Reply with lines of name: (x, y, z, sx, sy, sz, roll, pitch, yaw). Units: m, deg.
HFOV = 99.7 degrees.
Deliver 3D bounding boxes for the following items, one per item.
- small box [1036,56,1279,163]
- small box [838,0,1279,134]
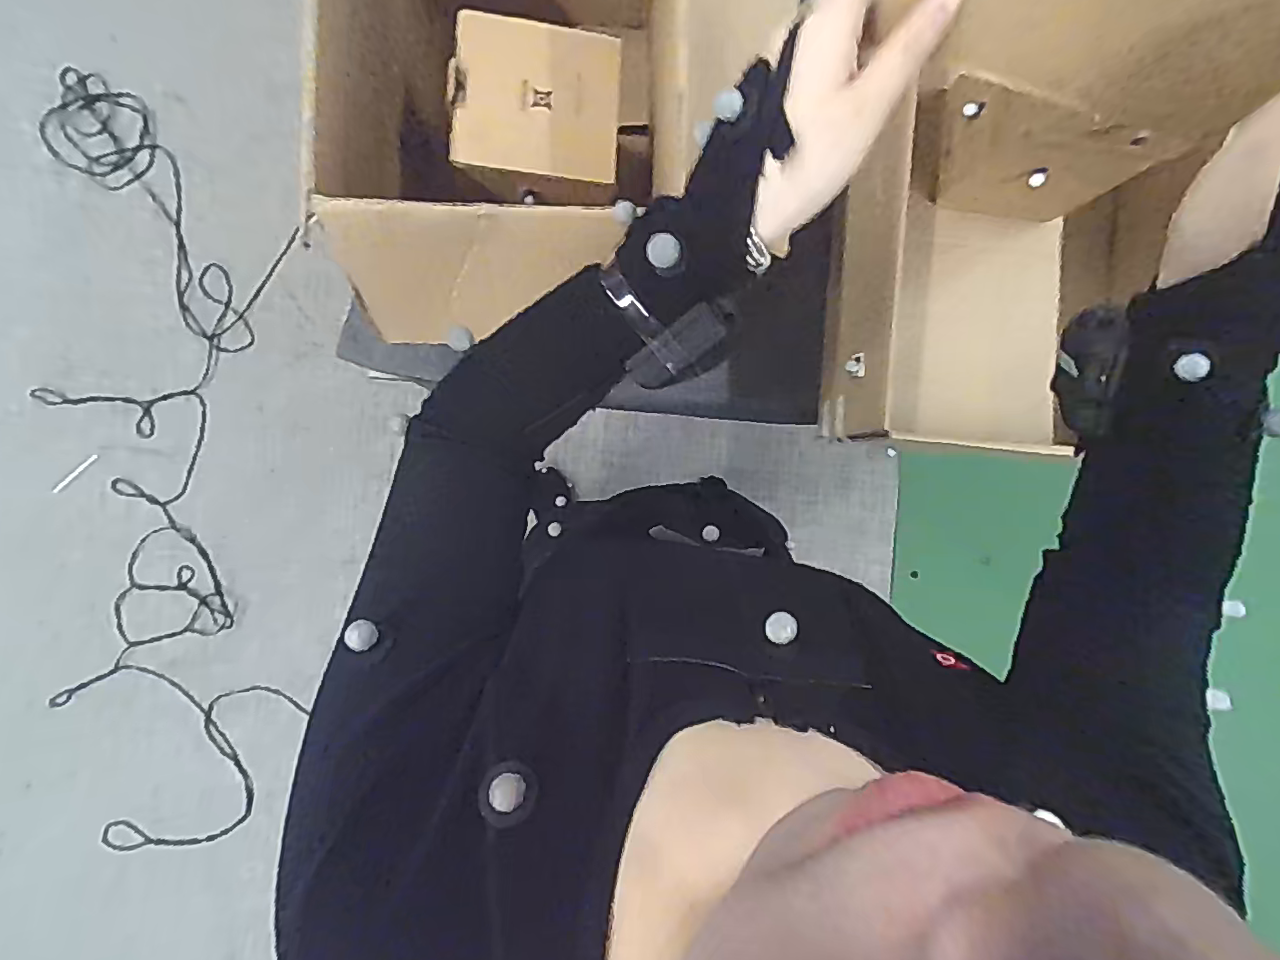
small box: (0.520, -0.444, 0.513, 0.168, 0.176, 0.179, 6, 92, -4)
small box: (0.204, -0.285, 0.206, 0.179, 0.168, 0.176, 17, 69, 1)
